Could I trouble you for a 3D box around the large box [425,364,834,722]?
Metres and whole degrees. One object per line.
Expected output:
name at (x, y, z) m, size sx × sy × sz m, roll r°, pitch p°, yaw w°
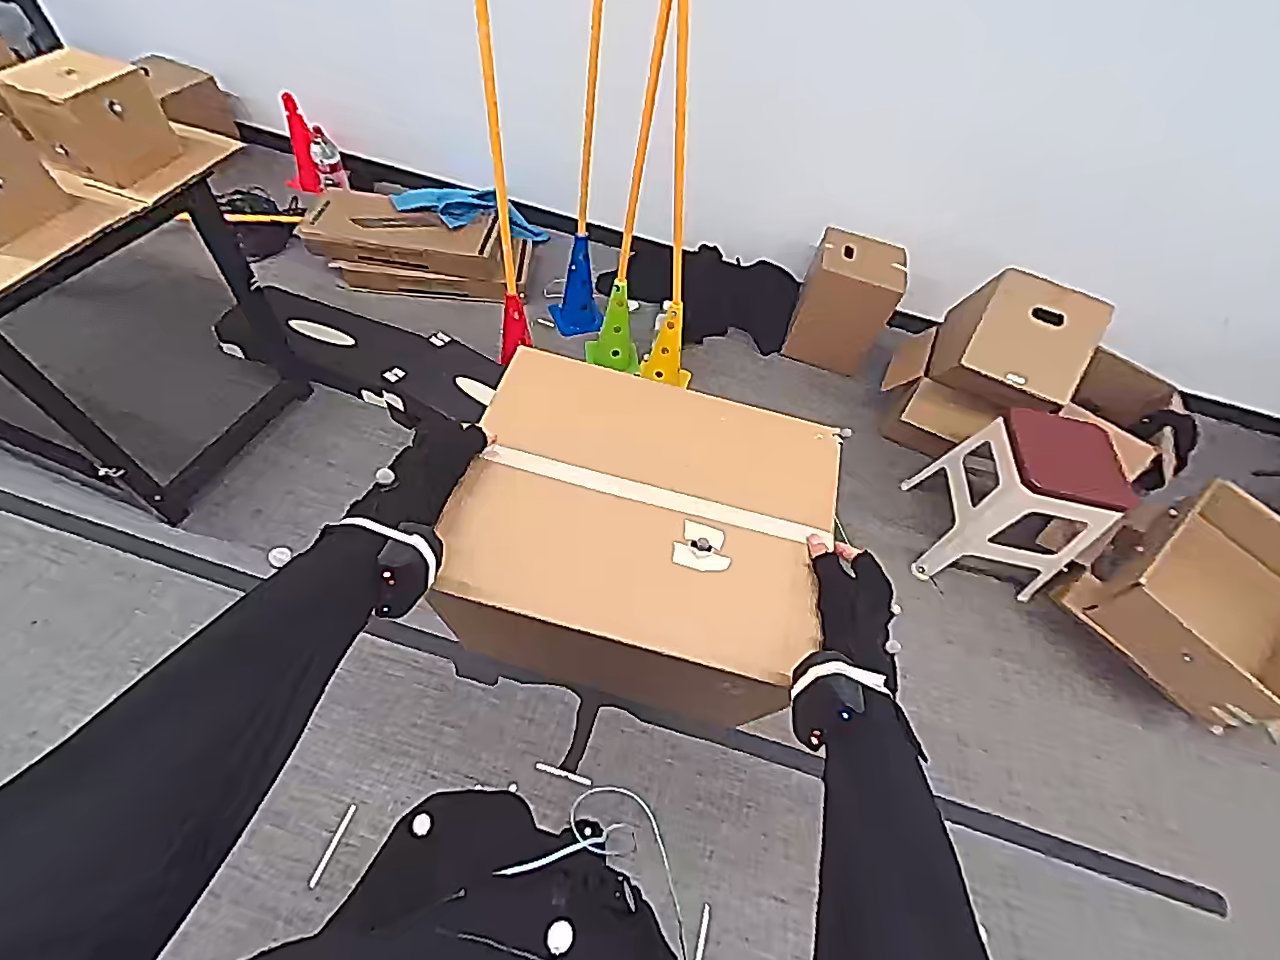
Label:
large box at (-0.004, 0.100, 0.725) m, size 0.408 × 0.320 × 0.320 m, roll 15°, pitch 61°, yaw 2°
